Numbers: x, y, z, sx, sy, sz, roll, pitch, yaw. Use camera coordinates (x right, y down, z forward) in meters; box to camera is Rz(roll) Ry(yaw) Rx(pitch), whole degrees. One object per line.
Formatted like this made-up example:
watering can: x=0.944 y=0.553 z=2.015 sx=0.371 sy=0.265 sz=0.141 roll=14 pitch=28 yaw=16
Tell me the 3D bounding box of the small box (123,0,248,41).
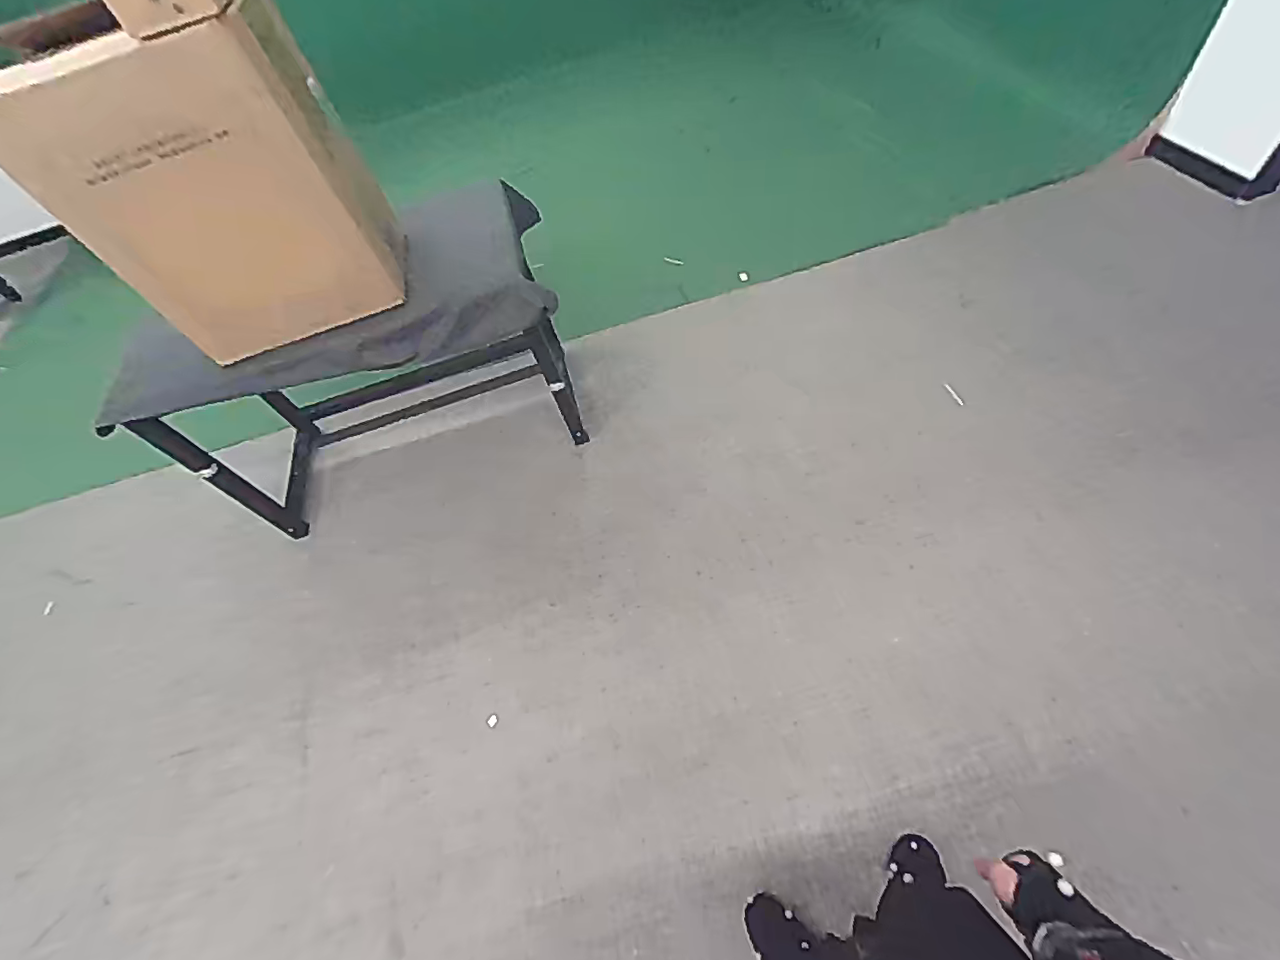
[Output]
small box: x=-0.843 y=-0.923 z=0.964 sx=0.168 sy=0.176 sz=0.179 roll=-19 pitch=55 yaw=-1
